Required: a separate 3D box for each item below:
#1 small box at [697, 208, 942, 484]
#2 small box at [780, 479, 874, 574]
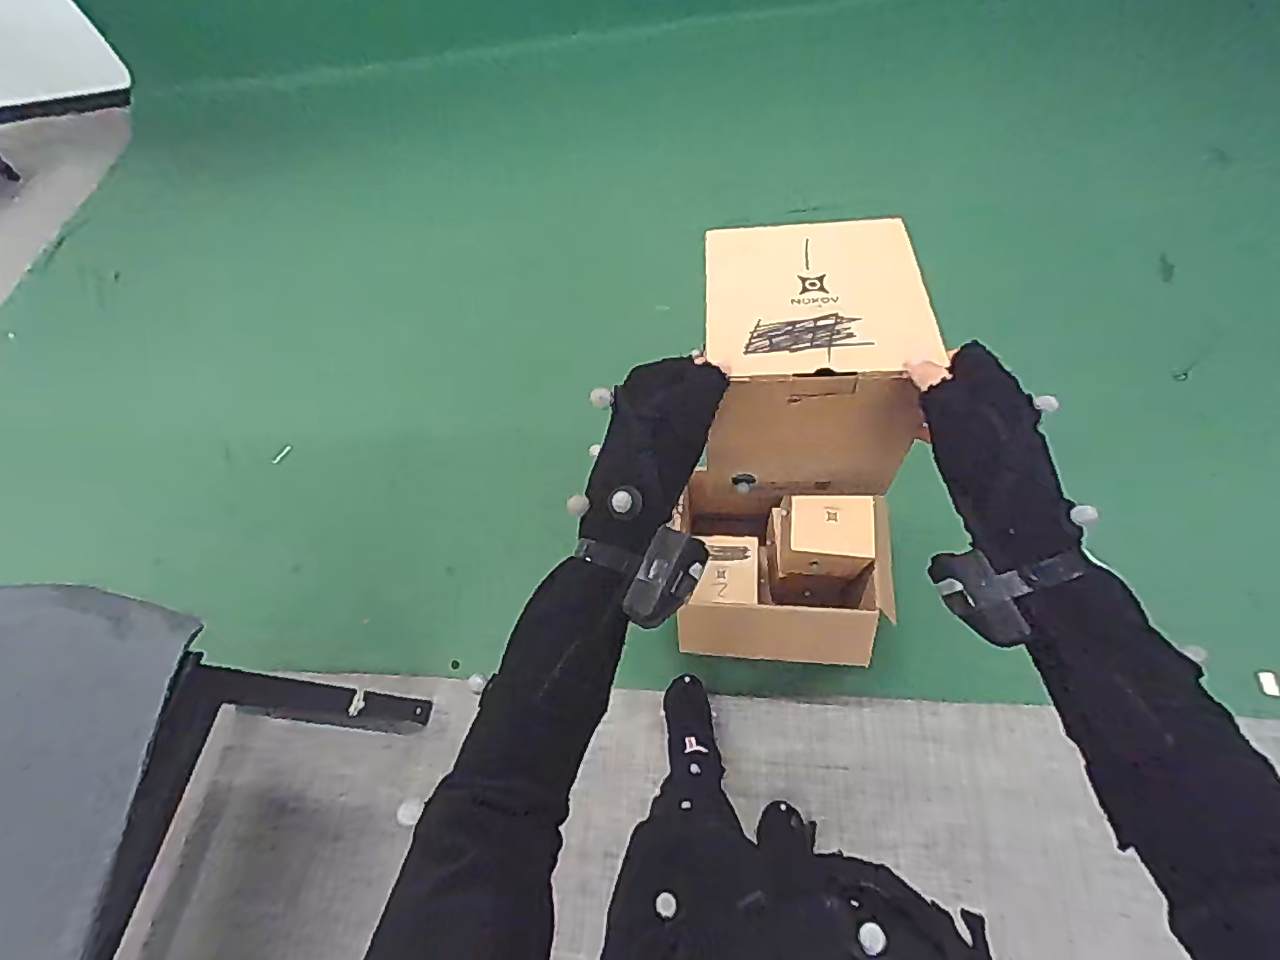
[{"bbox_3d":[0.138,-0.108,0.481,0.168,0.176,0.179,0,58,7],"label":"small box"},{"bbox_3d":[0.401,0.096,1.177,0.168,0.176,0.179,4,64,9],"label":"small box"}]
